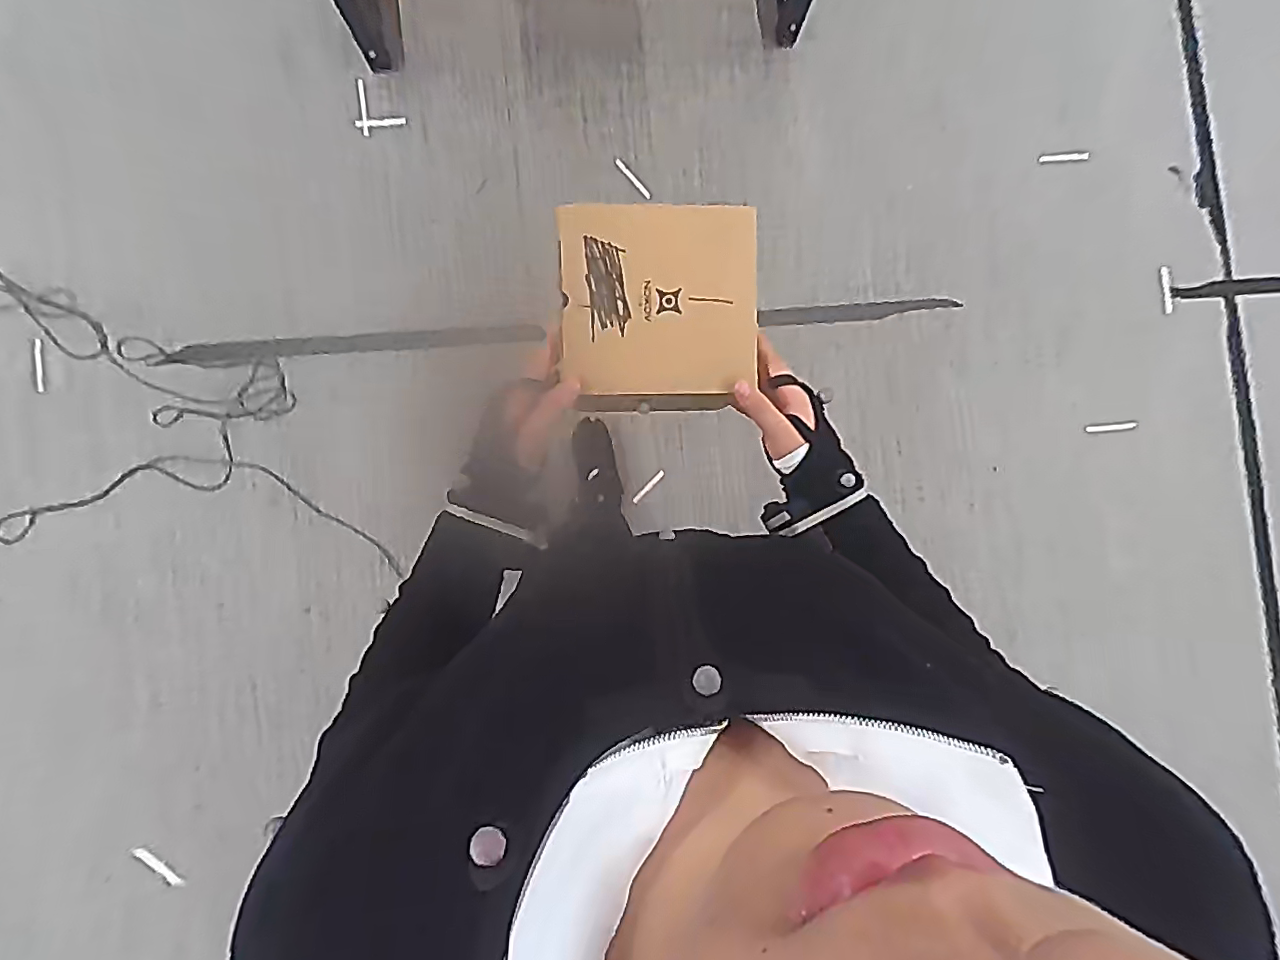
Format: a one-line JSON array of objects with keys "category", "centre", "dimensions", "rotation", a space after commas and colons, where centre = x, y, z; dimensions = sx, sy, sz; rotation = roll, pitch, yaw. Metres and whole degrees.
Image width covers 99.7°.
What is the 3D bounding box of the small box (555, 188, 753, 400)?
[{"category": "small box", "centre": [0.010, -0.174, 0.555], "dimensions": [0.179, 0.176, 0.168], "rotation": [-1, 92, -4]}]
